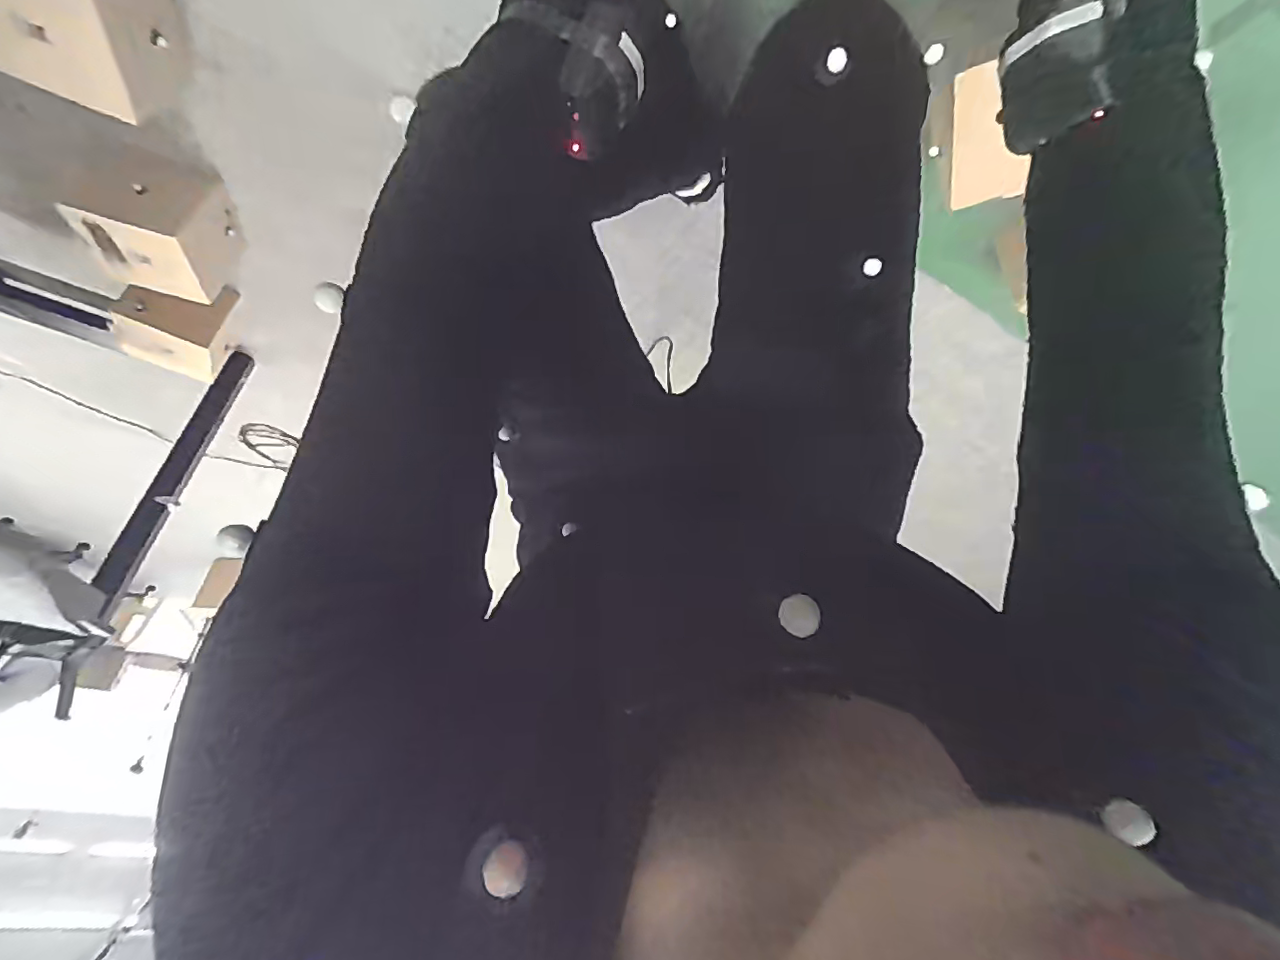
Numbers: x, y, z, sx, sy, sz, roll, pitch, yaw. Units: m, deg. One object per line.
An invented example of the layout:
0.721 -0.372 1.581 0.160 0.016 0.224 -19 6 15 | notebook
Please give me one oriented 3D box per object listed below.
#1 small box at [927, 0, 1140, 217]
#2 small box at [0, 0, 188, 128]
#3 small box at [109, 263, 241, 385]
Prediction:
0.455 -0.468 0.659 0.168 0.176 0.179 -8 147 25 | small box
-0.715 -0.603 0.680 0.179 0.176 0.168 18 149 -19 | small box
-1.037 -0.351 1.224 0.179 0.176 0.168 24 148 -27 | small box
